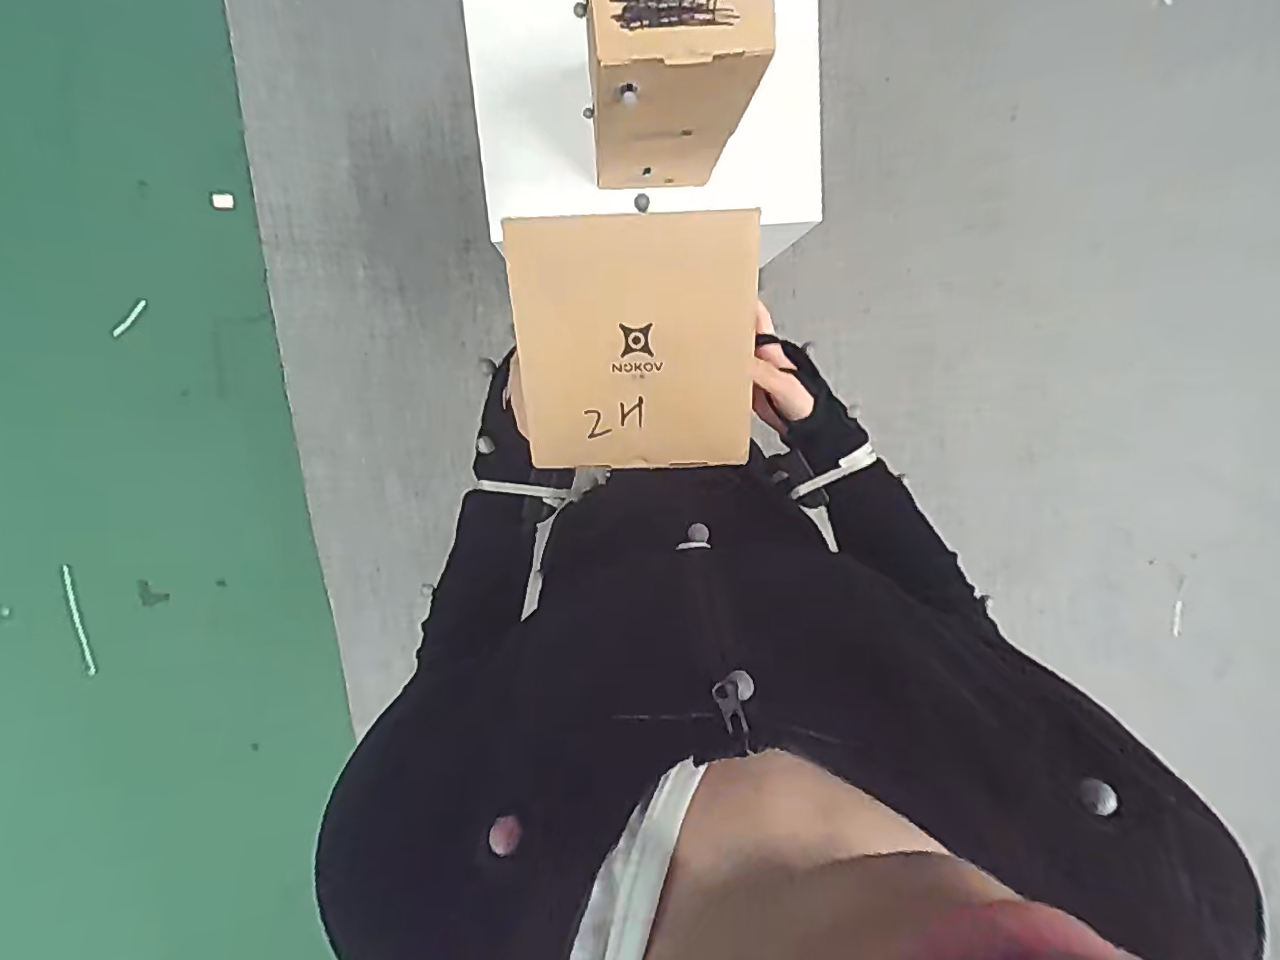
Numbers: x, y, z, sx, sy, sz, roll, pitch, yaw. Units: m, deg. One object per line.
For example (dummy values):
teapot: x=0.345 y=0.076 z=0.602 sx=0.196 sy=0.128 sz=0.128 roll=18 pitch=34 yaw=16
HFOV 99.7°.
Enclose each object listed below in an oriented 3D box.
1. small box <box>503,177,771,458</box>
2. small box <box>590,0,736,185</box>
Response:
small box: x=0.002 y=-0.129 z=0.429 sx=0.168 sy=0.176 sz=0.179 roll=-2 pitch=114 yaw=3
small box: x=0.021 y=-0.507 z=0.702 sx=0.168 sy=0.176 sz=0.179 roll=-5 pitch=99 yaw=-3
